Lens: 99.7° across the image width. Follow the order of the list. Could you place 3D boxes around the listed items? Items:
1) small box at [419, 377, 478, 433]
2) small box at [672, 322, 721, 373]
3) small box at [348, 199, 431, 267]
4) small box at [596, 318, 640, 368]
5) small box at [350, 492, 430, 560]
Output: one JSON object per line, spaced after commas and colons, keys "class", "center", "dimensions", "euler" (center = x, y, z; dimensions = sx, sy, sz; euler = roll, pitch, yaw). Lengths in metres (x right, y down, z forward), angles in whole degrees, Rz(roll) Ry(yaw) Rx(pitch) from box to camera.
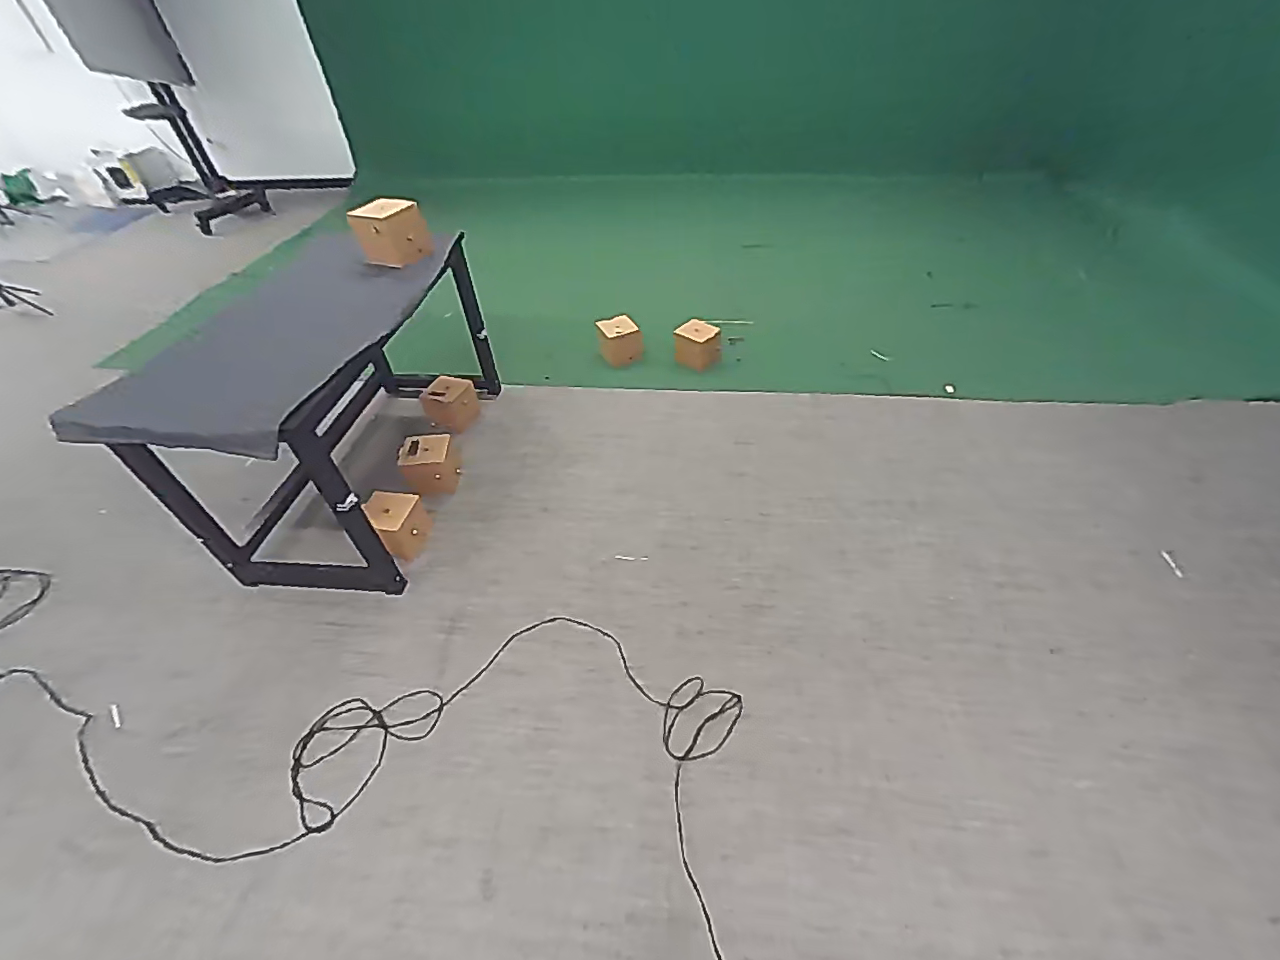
{"class": "small box", "center": [-0.842, -0.333, 2.400], "dimensions": [0.168, 0.176, 0.179], "euler": [12, 45, 14]}
{"class": "small box", "center": [0.277, -0.648, 2.664], "dimensions": [0.179, 0.176, 0.168], "euler": [30, 52, 30]}
{"class": "small box", "center": [-0.872, -0.864, 1.899], "dimensions": [0.179, 0.176, 0.168], "euler": [16, 48, 22]}
{"class": "small box", "center": [-0.111, -0.692, 2.730], "dimensions": [0.168, 0.176, 0.179], "euler": [-20, 46, -17]}
{"class": "small box", "center": [-0.868, 0.166, 1.901], "dimensions": [0.179, 0.176, 0.168], "euler": [5, 46, 9]}
